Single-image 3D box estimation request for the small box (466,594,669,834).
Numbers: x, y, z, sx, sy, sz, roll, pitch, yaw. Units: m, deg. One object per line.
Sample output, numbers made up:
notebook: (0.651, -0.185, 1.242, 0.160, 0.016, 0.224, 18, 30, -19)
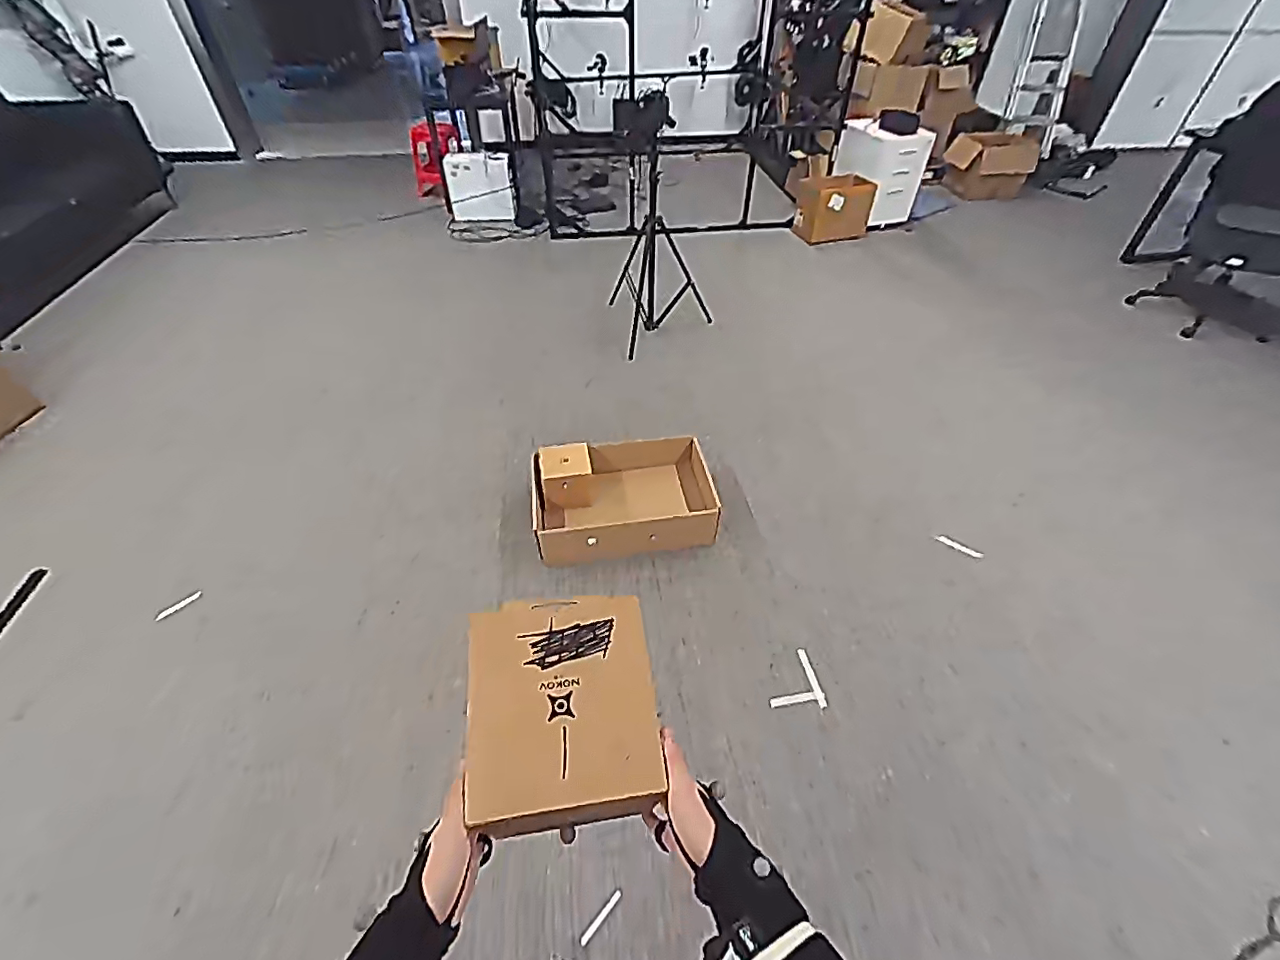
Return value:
small box: (-0.073, 0.237, 0.545, 0.168, 0.176, 0.179, -5, 54, -8)
